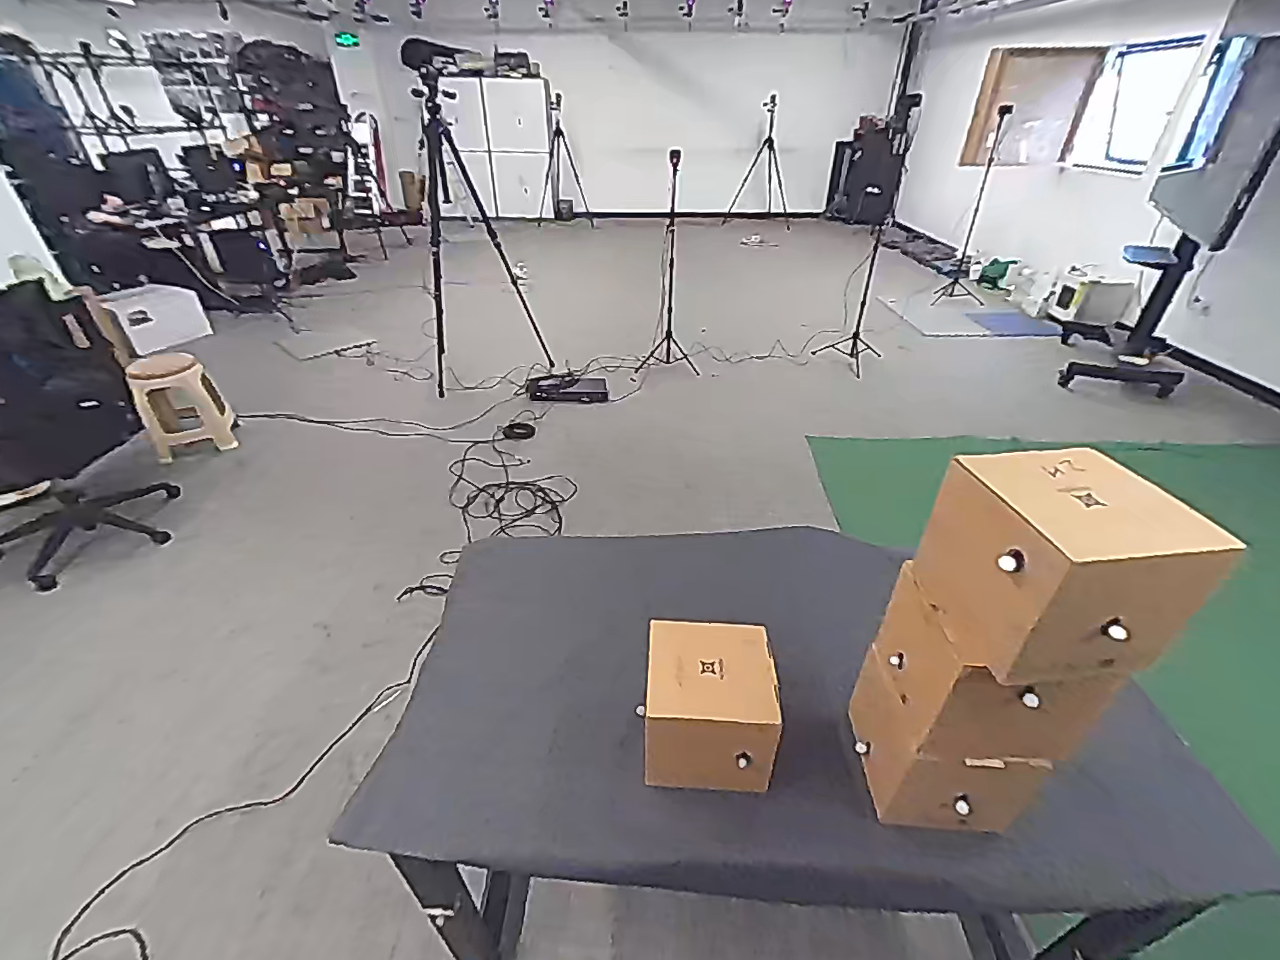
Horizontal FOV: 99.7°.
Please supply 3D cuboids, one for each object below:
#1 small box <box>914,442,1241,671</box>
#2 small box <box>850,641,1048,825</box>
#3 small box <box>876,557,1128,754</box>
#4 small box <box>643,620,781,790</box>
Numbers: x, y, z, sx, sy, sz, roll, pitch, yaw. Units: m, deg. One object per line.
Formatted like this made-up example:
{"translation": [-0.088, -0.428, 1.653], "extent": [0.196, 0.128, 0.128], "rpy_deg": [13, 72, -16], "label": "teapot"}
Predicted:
{"translation": [0.422, 0.080, 0.564], "extent": [0.168, 0.176, 0.179], "rpy_deg": [-4, 33, -5], "label": "small box"}
{"translation": [0.408, 0.349, 0.751], "extent": [0.168, 0.176, 0.179], "rpy_deg": [1, 34, 4], "label": "small box"}
{"translation": [0.416, 0.213, 0.662], "extent": [0.179, 0.176, 0.168], "rpy_deg": [0, 33, 2], "label": "small box"}
{"translation": [0.096, 0.328, 0.791], "extent": [0.179, 0.176, 0.168], "rpy_deg": [0, 33, 3], "label": "small box"}
